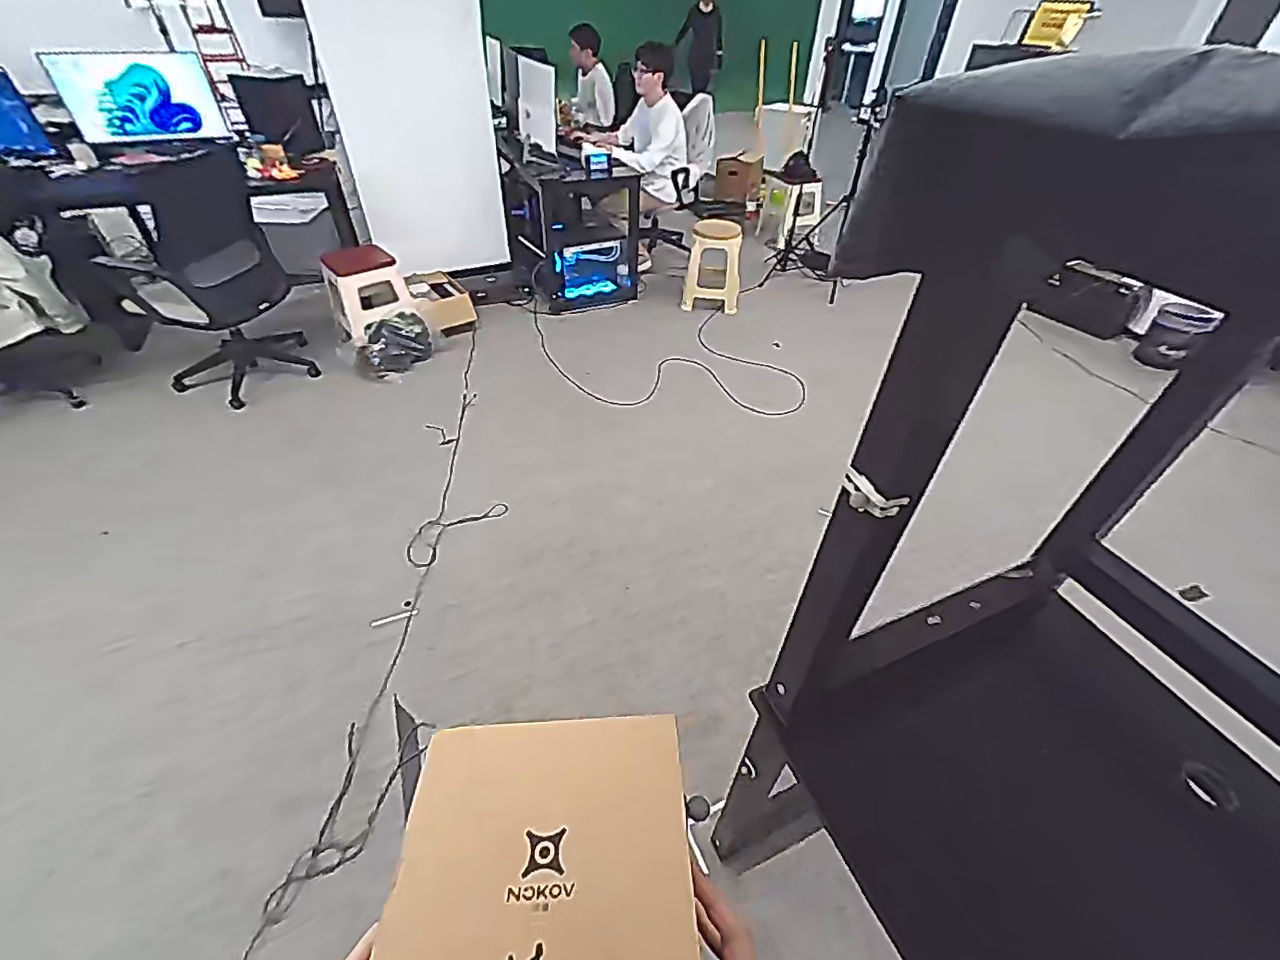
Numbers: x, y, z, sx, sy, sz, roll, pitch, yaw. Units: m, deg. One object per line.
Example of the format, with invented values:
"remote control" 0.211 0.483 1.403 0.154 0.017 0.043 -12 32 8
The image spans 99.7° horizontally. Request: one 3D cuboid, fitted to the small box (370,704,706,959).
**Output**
"small box" -0.048 0.272 0.343 0.168 0.176 0.179 -4 36 0
